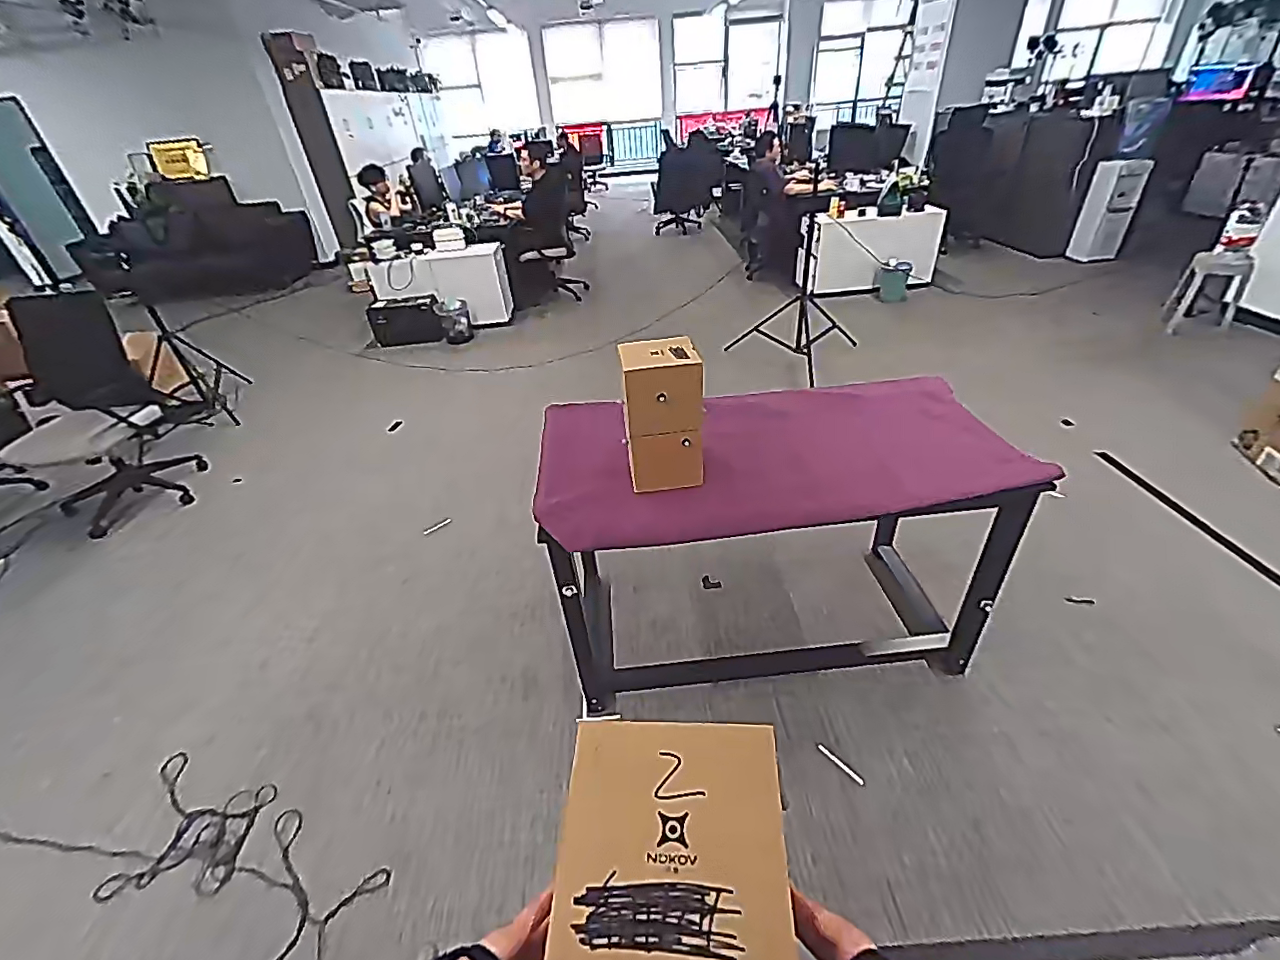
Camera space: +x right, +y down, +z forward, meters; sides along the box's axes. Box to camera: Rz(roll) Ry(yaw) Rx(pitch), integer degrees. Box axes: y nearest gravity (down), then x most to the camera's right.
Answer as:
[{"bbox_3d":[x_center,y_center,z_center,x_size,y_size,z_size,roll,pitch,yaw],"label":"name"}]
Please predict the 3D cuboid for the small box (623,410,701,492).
[{"bbox_3d":[0.056,-0.083,1.375,0.179,0.176,0.168,-7,35,-3],"label":"small box"}]

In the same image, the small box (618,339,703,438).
[{"bbox_3d":[0.047,-0.215,1.277,0.179,0.176,0.168,-7,35,-3],"label":"small box"}]
